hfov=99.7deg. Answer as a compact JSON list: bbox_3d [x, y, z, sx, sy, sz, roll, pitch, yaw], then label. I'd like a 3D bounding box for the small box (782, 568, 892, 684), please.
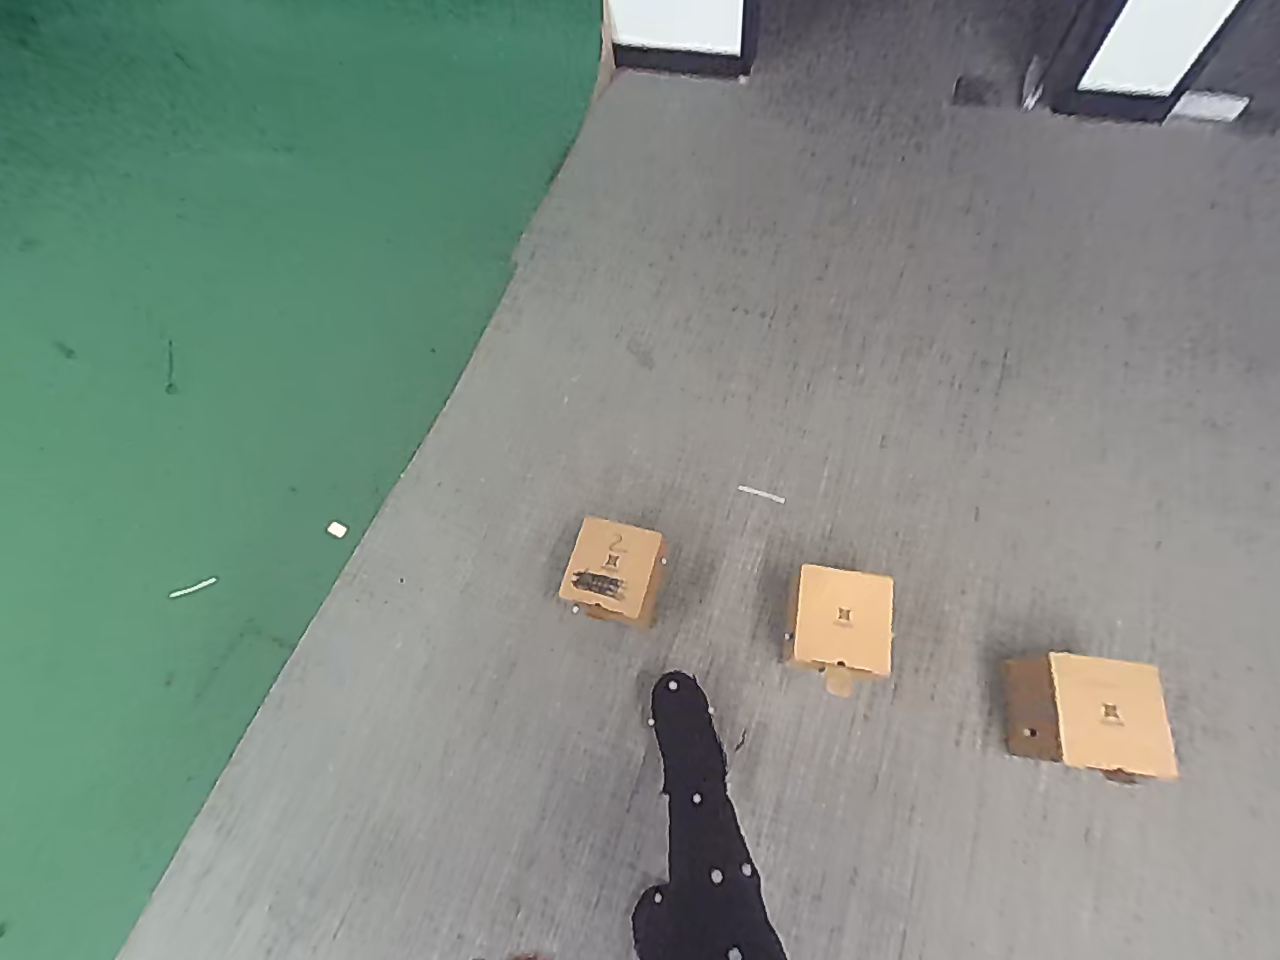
[{"bbox_3d":[0.374,0.285,1.044,0.168,0.176,0.179,8,68,10],"label":"small box"}]

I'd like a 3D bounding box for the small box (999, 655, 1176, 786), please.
[{"bbox_3d":[0.761,0.414,0.943,0.168,0.176,0.179,5,67,8],"label":"small box"}]
